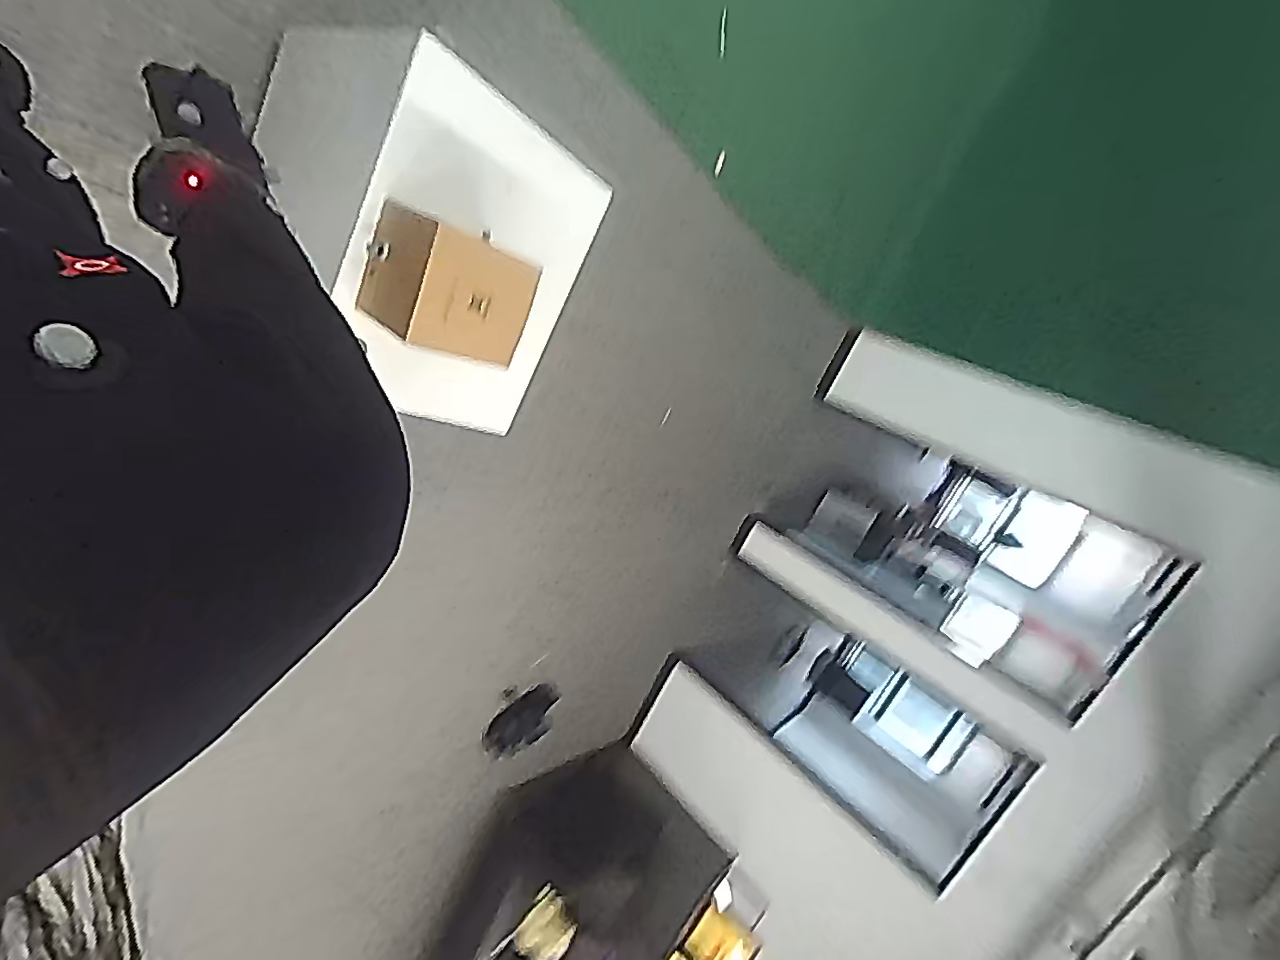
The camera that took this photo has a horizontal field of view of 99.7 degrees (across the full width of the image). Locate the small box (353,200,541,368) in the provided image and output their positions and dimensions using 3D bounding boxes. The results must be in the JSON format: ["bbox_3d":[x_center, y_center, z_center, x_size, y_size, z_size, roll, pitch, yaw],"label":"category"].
[{"bbox_3d":[-0.283,-0.284,0.789,0.179,0.176,0.168,3,116,-51],"label":"small box"}]
